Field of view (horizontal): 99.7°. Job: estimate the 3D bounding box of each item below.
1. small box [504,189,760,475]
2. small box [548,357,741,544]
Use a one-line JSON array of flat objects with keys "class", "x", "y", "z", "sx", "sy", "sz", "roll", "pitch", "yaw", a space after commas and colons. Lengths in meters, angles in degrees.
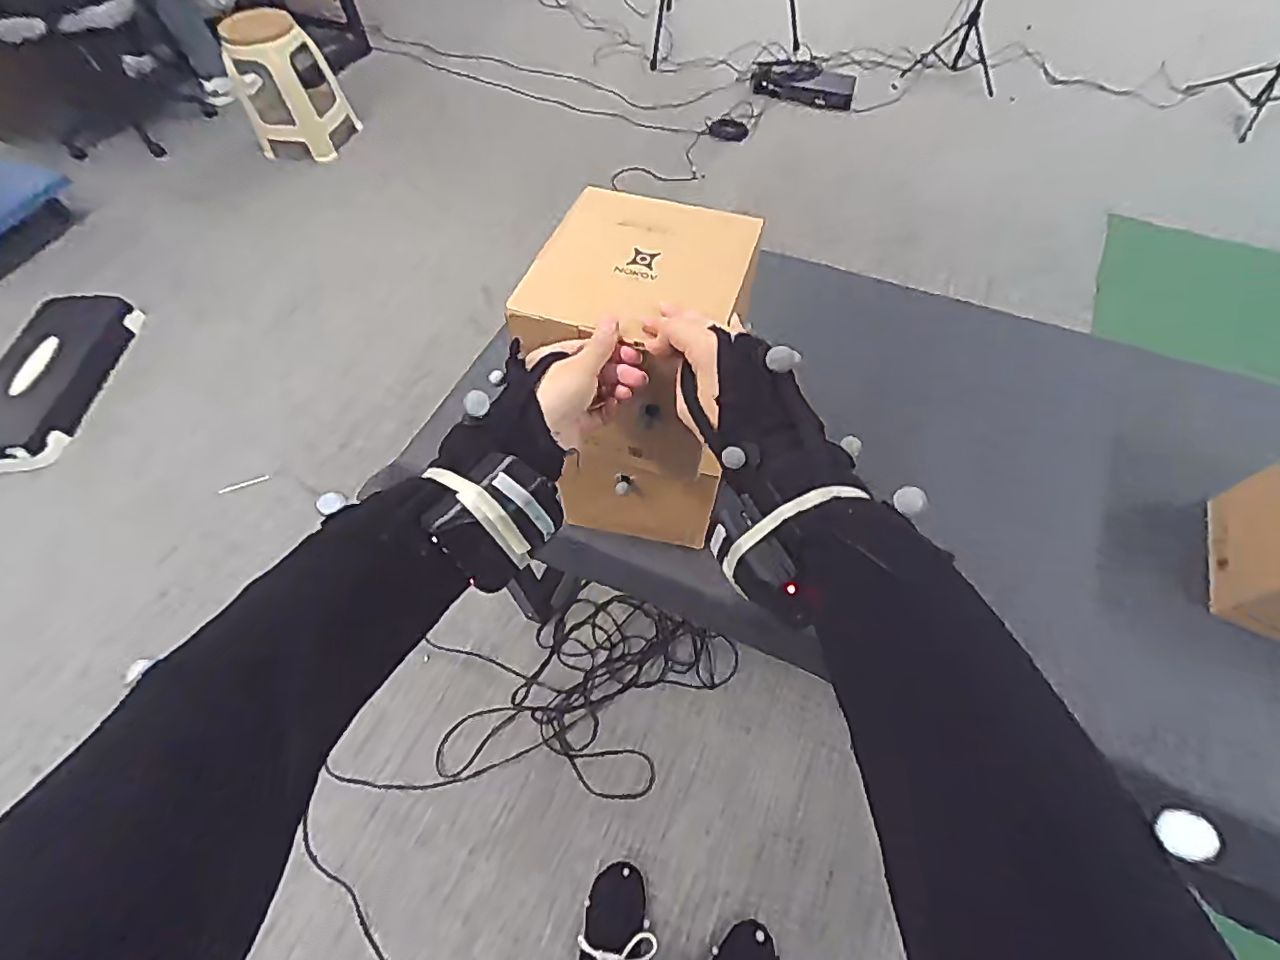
[{"class": "small box", "x": 0.001, "y": -0.130, "z": 0.501, "sx": 0.168, "sy": 0.176, "sz": 0.179, "roll": 16, "pitch": 58, "yaw": 9}, {"class": "small box", "x": 0.011, "y": -0.041, "z": 0.636, "sx": 0.179, "sy": 0.176, "sz": 0.168, "roll": 11, "pitch": 59, "yaw": 8}]
